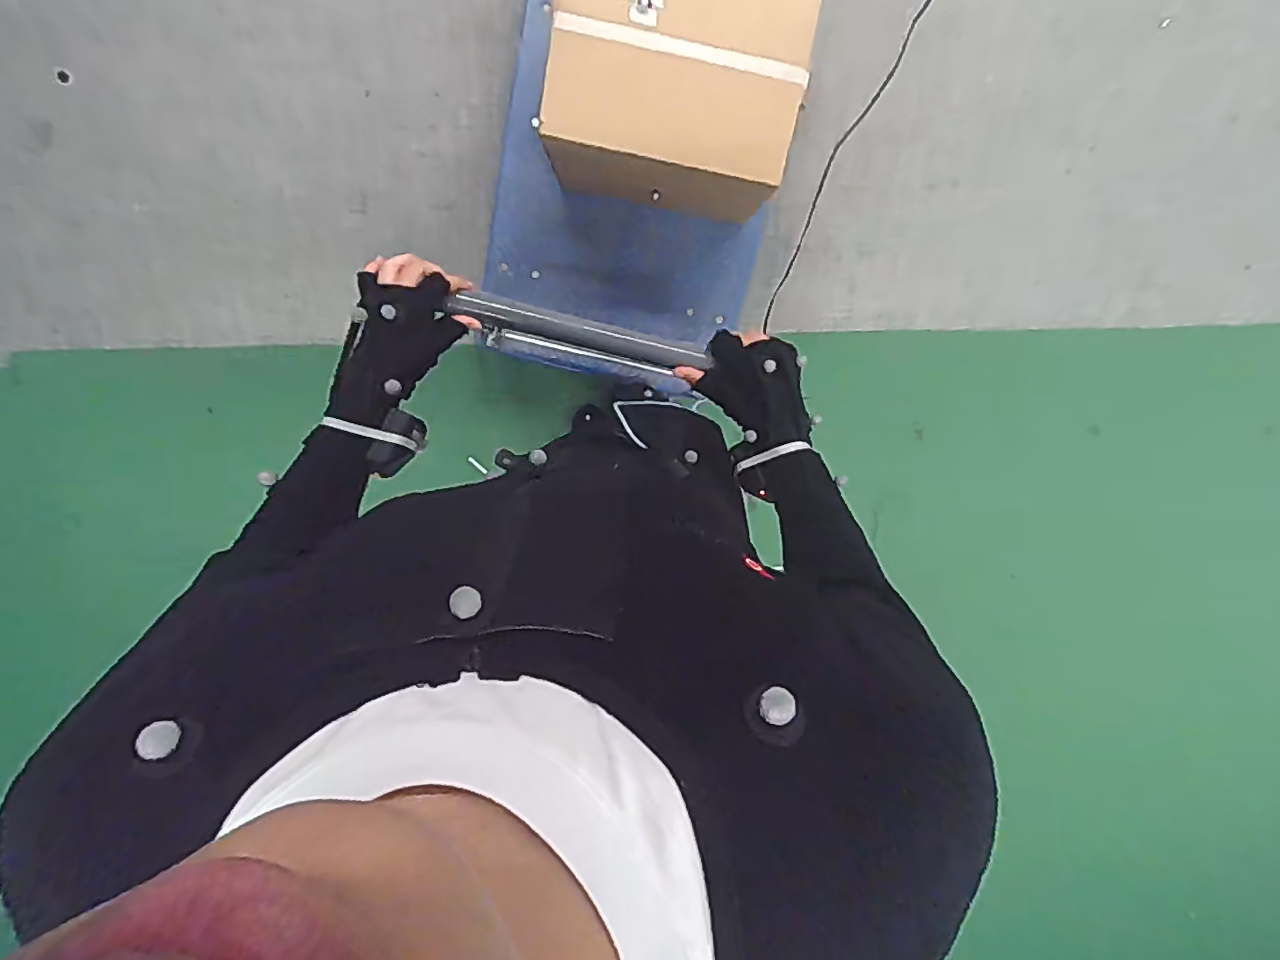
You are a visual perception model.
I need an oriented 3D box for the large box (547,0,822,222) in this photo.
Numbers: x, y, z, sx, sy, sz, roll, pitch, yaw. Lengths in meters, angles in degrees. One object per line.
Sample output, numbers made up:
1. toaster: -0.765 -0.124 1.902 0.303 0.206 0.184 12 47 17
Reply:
1. large box: 0.068 -0.701 0.996 0.408 0.320 0.320 10 102 -3
